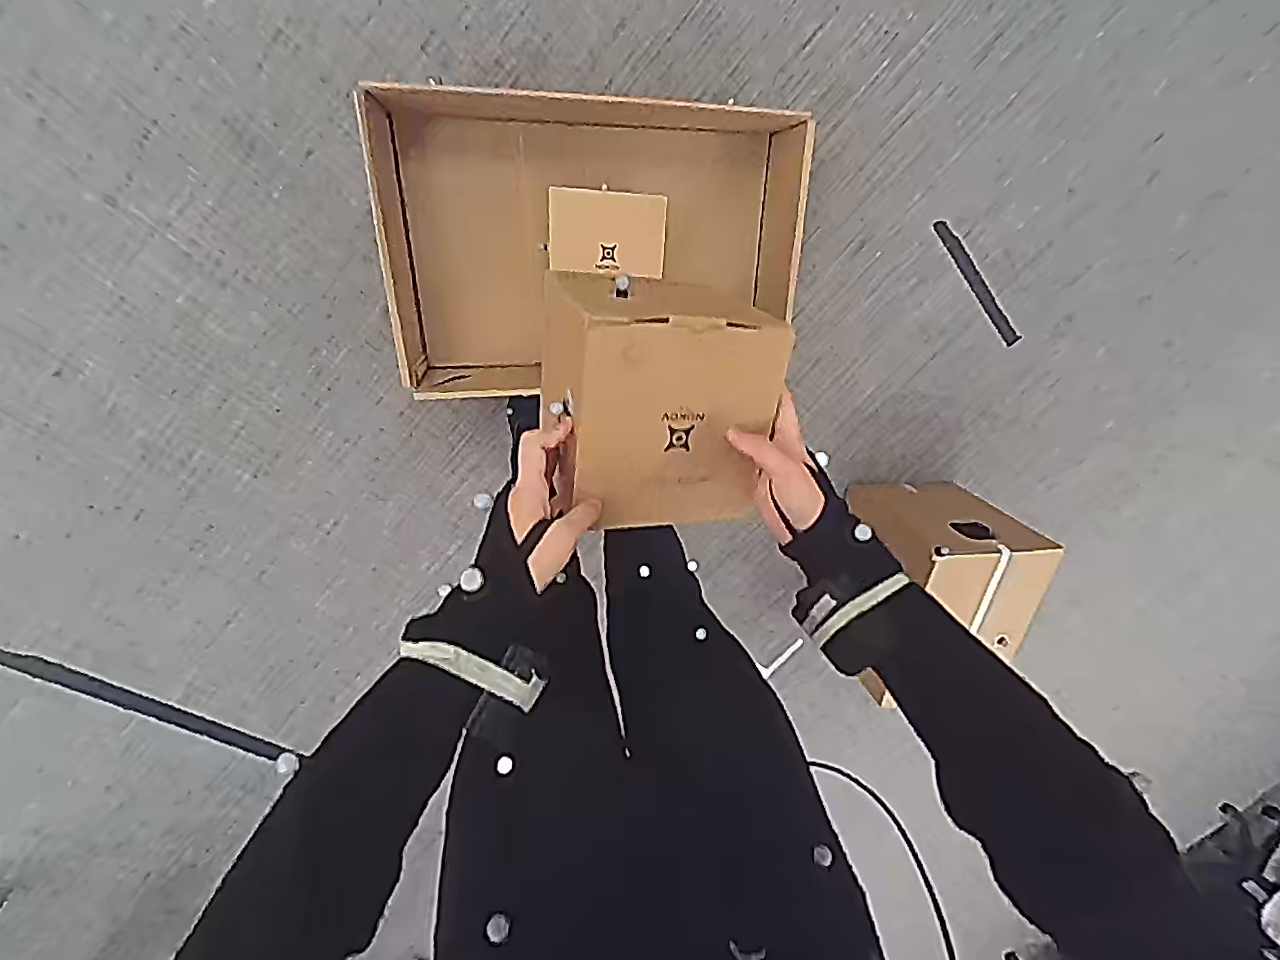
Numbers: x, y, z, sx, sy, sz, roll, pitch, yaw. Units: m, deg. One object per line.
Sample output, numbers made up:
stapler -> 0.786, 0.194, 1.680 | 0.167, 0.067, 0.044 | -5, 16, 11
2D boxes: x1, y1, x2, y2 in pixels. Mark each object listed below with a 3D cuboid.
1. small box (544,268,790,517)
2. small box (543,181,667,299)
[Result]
small box -> 0.007, -0.088, 0.496 | 0.168, 0.176, 0.179 | -4, 121, -18
small box -> -0.064, -0.351, 0.838 | 0.168, 0.176, 0.179 | -1, 115, -12
